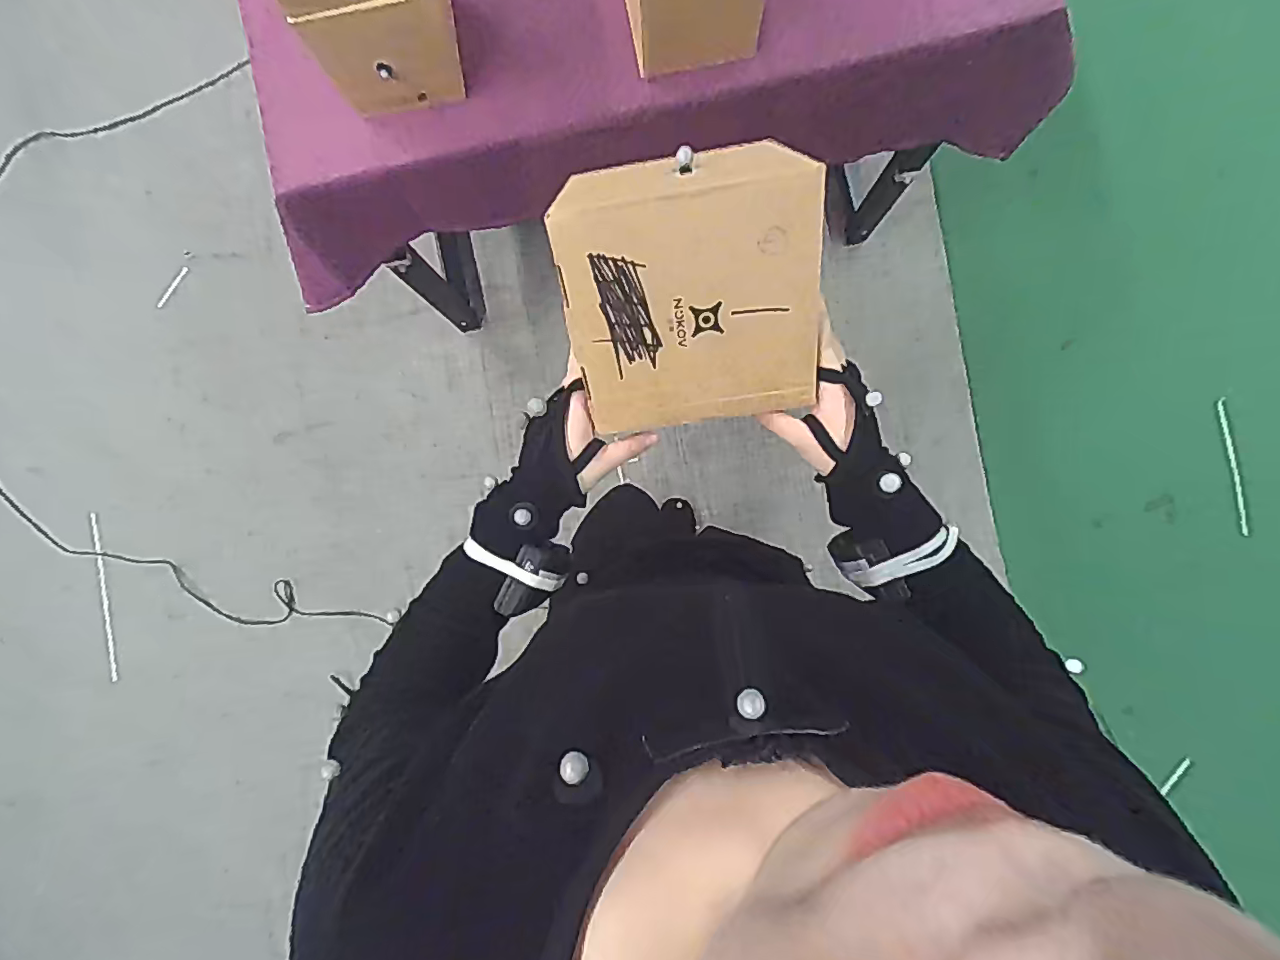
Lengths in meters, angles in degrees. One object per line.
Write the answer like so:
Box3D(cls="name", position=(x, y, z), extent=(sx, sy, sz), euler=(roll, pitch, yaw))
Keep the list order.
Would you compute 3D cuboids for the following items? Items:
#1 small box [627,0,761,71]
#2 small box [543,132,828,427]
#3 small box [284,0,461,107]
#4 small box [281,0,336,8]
Box3D(cls="small box", position=(0.067, -0.696, 0.725), extent=(0.179, 0.176, 0.168), euler=(-11, 87, 1))
Box3D(cls="small box", position=(0.037, -0.164, 0.435), extent=(0.179, 0.176, 0.168), euler=(-8, 128, 5))
Box3D(cls="small box", position=(-0.358, -0.647, 0.735), extent=(0.168, 0.176, 0.179), euler=(-9, 87, 1))
Box3D(cls="small box", position=(-0.358, -0.655, 0.572), extent=(0.179, 0.176, 0.168), euler=(-10, 88, 1))
